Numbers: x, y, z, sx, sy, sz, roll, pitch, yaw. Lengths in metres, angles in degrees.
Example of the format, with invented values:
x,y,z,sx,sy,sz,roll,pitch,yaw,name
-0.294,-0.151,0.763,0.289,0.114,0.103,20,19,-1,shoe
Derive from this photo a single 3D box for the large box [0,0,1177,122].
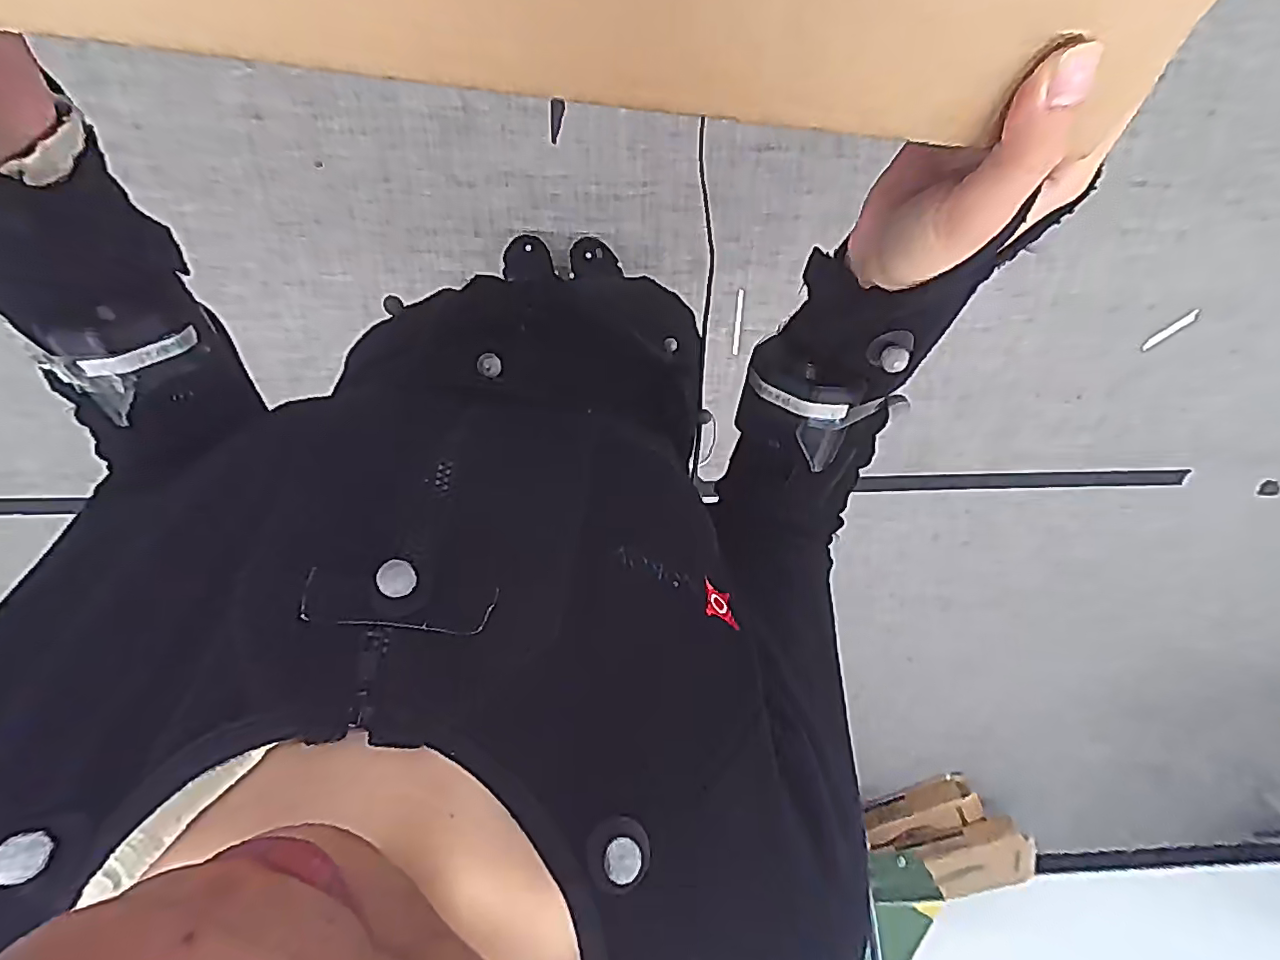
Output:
x,y,z,sx,sy,sz,roll,pitch,yaw,name
-0.030,-0.338,0.125,0.408,0.320,0.320,3,149,-5,large box
